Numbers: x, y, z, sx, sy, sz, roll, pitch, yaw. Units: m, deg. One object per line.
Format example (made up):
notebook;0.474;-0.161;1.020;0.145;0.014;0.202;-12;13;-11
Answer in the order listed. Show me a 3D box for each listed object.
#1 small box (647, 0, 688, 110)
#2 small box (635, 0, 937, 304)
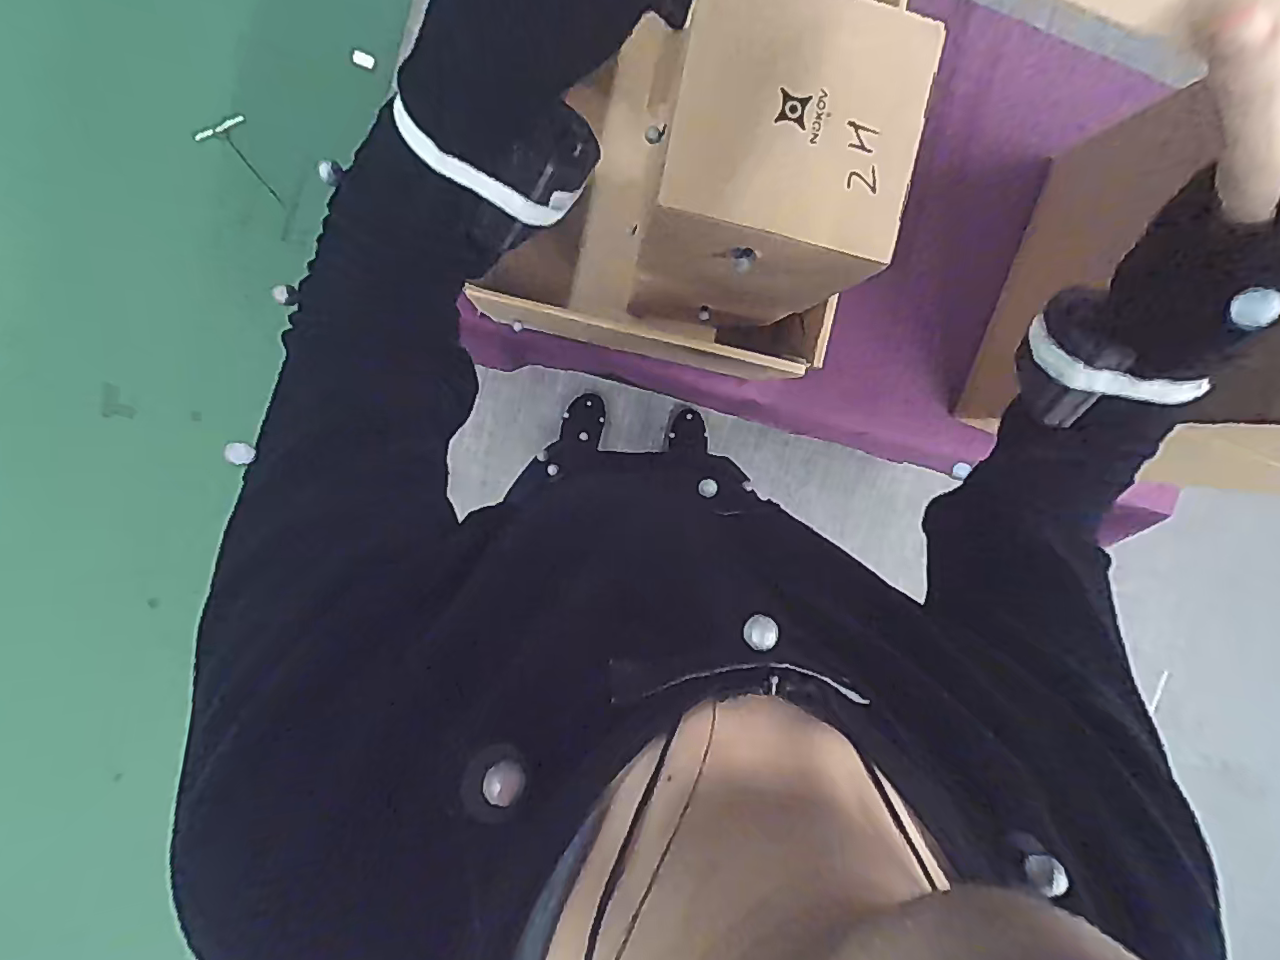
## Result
small box;0.104;-0.516;0.590;0.168;0.176;0.179;9;96;-6
small box;0.099;-0.259;0.453;0.179;0.176;0.168;12;96;-8
